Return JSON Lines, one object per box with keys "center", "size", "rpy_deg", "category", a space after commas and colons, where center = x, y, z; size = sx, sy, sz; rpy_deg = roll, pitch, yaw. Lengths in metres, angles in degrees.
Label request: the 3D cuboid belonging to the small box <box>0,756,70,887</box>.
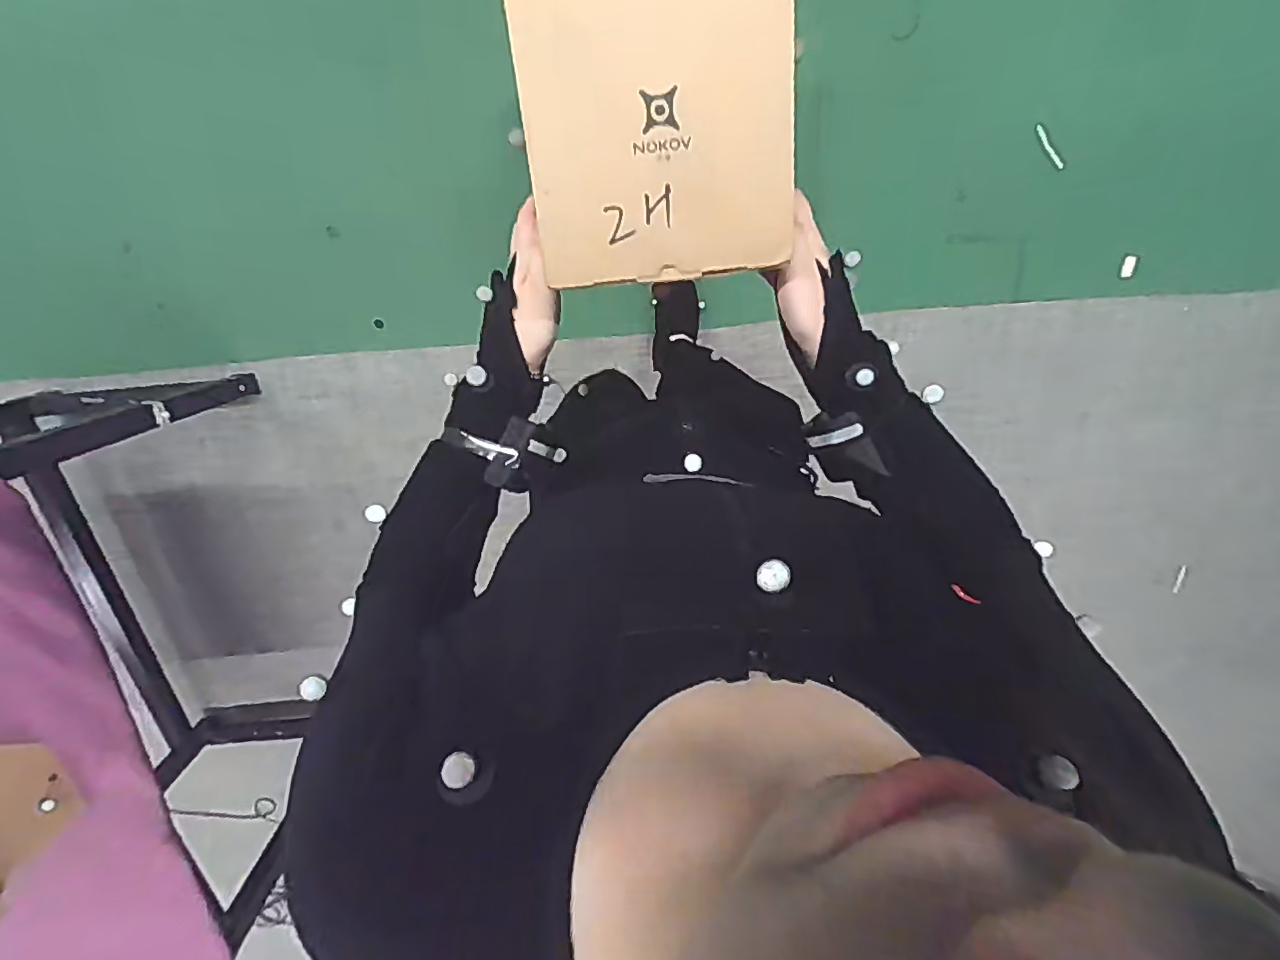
{"center": [-1.081, 0.560, 0.845], "size": [0.179, 0.176, 0.168], "rpy_deg": [-3, 111, 0], "category": "small box"}
